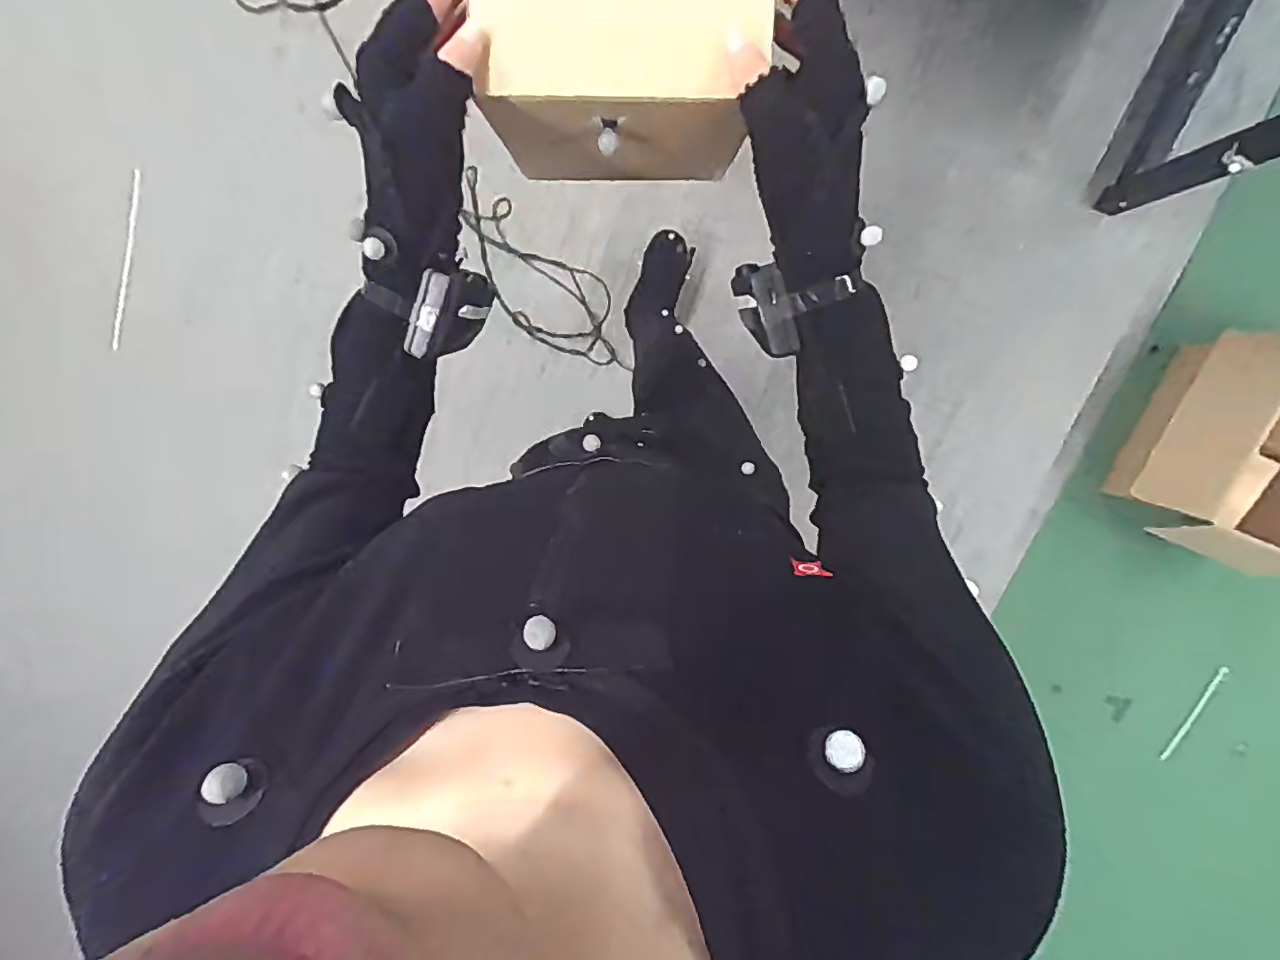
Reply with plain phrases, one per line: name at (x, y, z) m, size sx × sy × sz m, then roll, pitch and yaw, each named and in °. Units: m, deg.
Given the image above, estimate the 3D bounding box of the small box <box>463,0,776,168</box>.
small box at (-0.011, -0.326, 0.364) m, size 0.179 × 0.176 × 0.168 m, roll 0°, pitch 105°, yaw 1°
